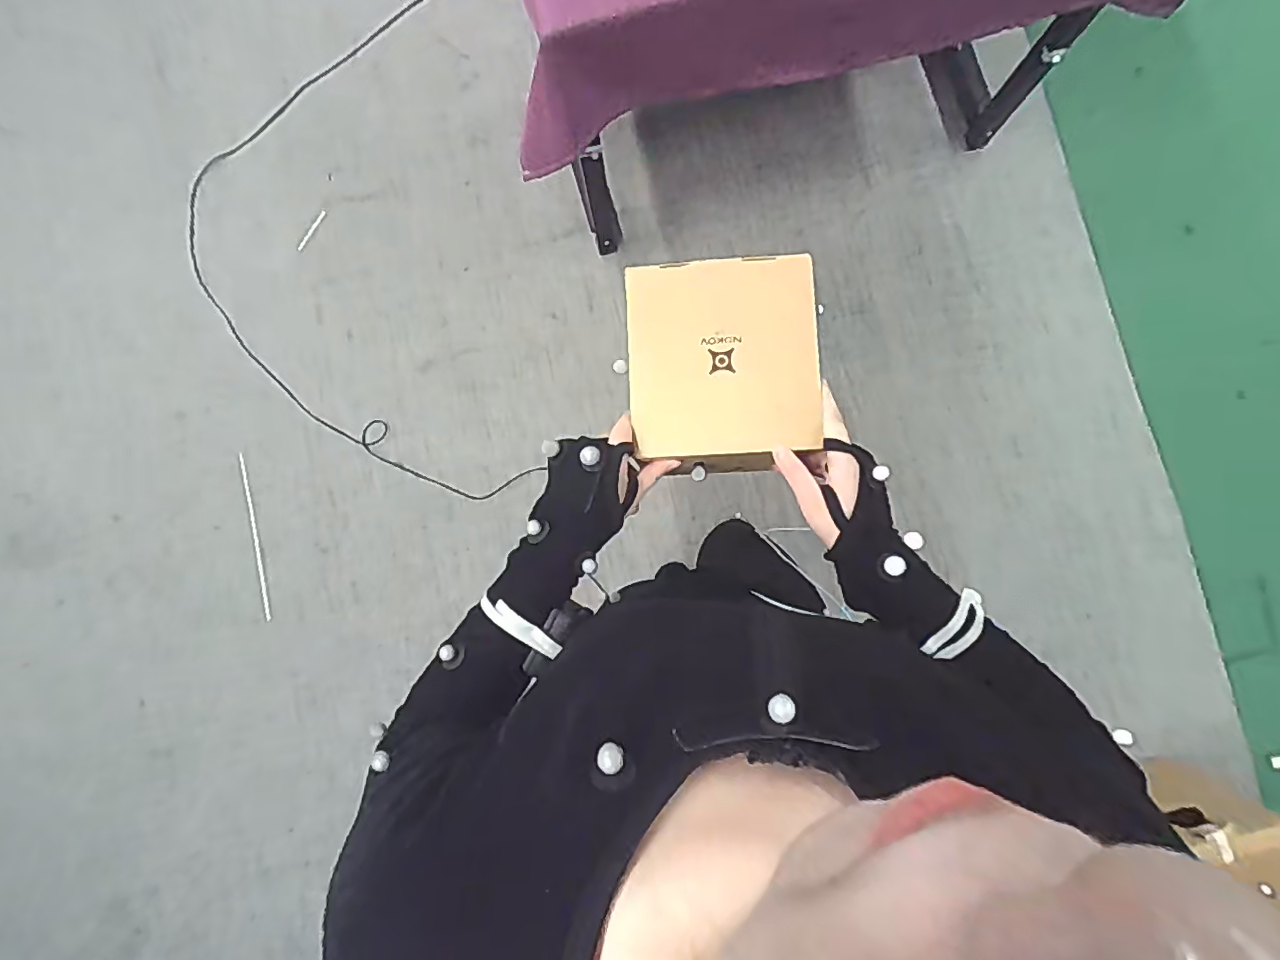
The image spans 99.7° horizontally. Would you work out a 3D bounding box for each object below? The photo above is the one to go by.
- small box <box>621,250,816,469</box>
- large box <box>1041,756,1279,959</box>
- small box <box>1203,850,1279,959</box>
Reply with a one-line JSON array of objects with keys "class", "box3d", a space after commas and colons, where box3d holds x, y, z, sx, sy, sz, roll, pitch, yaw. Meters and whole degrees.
[{"class": "small box", "box3d": [0.074, -0.105, 0.551, 0.168, 0.176, 0.179, -3, 84, 5]}, {"class": "large box", "box3d": [1.242, 0.941, 1.261, 0.320, 0.320, 0.408, -14, 86, 0]}, {"class": "small box", "box3d": [1.237, 0.849, 1.024, 0.179, 0.176, 0.168, -15, 86, -1]}]
